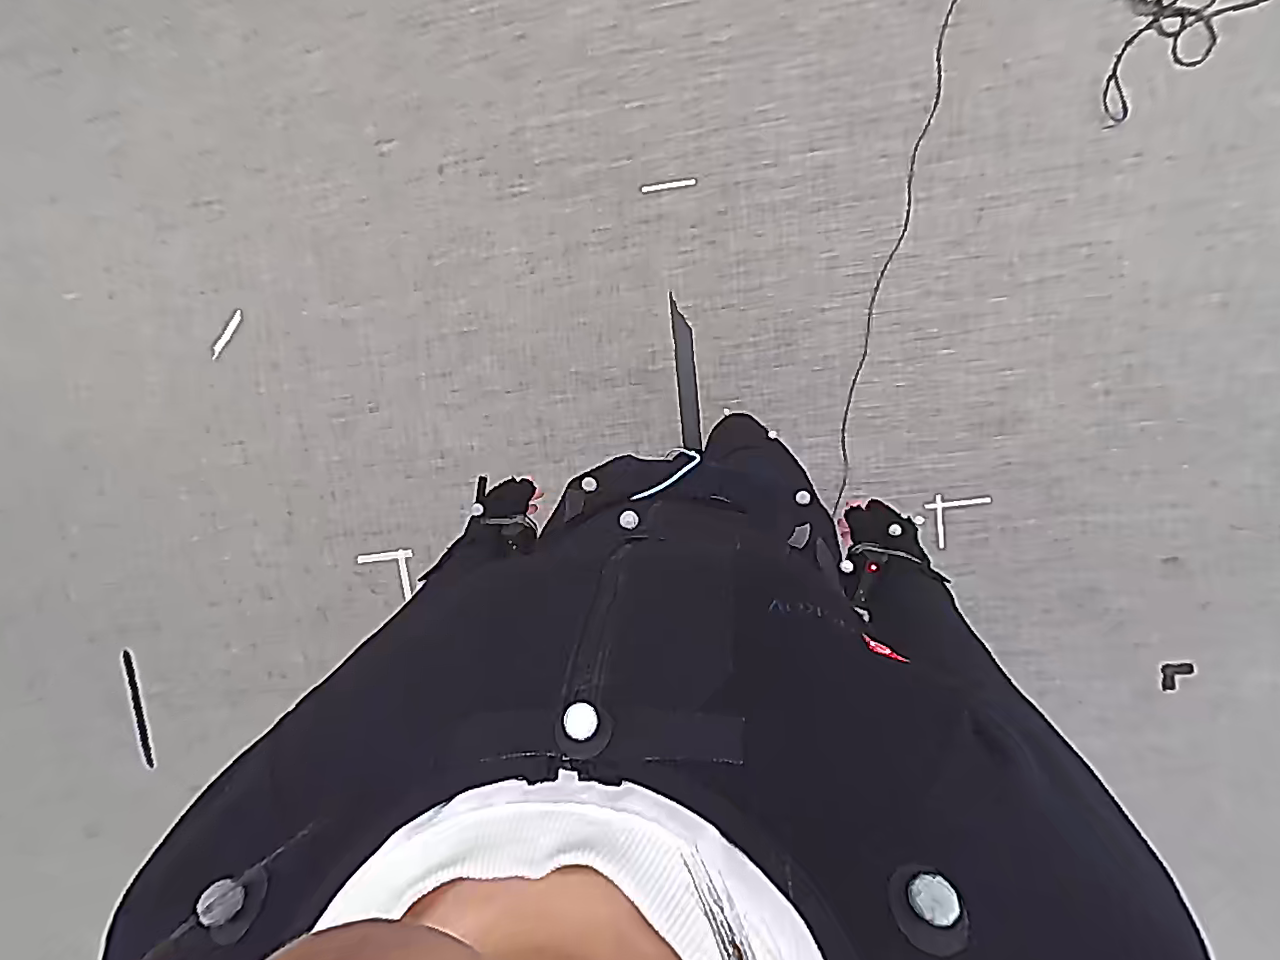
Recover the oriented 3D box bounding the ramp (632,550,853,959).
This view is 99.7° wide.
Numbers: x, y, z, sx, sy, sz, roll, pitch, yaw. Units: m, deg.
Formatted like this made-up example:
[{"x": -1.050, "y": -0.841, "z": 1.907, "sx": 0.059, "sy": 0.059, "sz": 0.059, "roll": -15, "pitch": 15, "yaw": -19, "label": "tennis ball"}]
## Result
[{"x": 0.241, "y": 0.695, "z": 1.385, "sx": 0.509, "sy": 0.206, "sz": 0.991, "roll": -6, "pitch": 93, "yaw": 10, "label": "ramp"}]
